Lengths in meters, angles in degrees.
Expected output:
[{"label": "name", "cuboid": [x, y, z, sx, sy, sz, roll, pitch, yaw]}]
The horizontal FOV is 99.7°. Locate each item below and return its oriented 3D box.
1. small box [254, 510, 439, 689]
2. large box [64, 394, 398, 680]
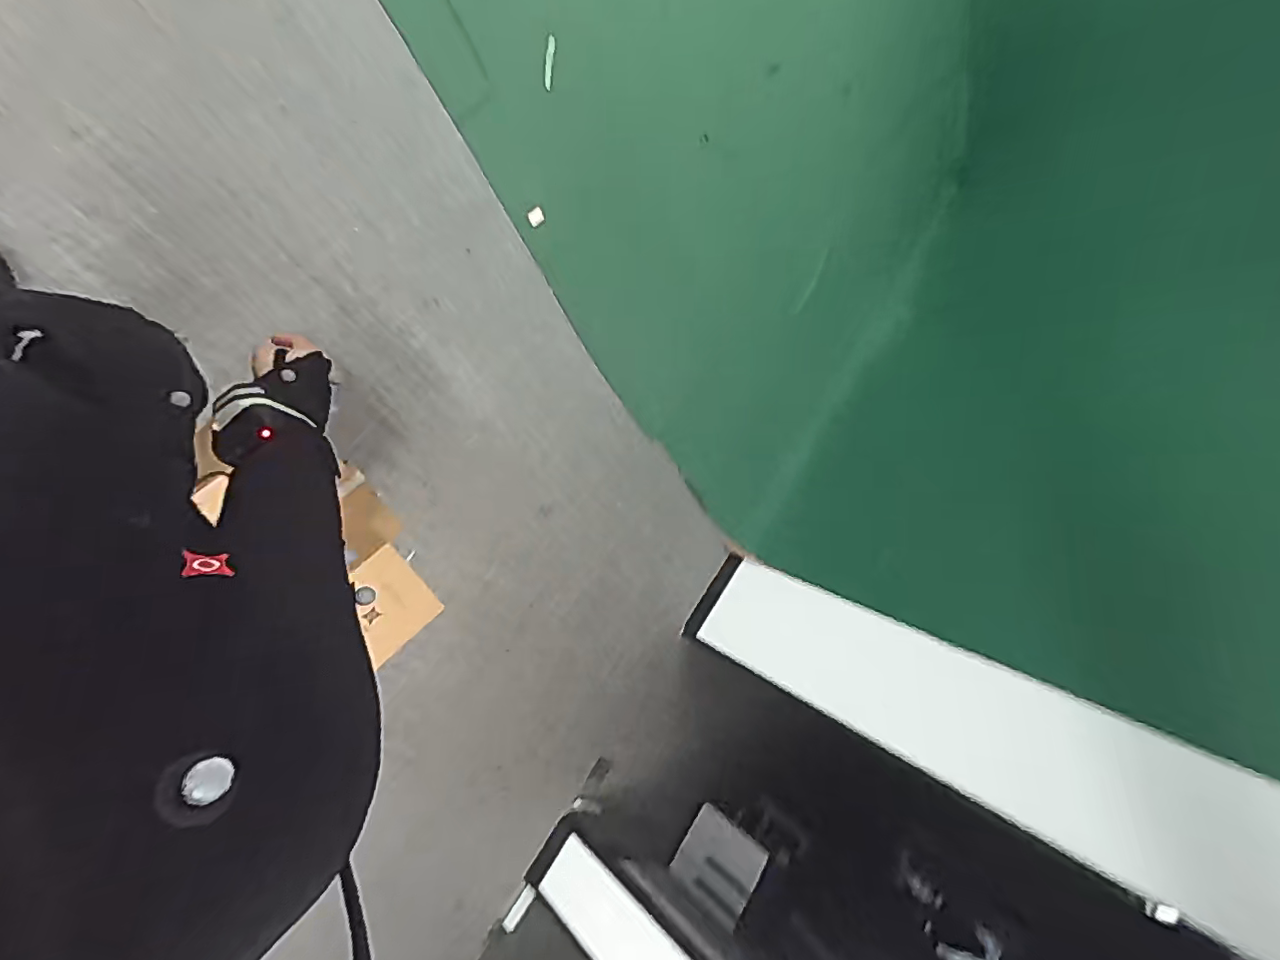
[{"label": "small box", "cuboid": [-0.457, 0.176, 0.837, 0.179, 0.176, 0.168, -44, 135, -27]}, {"label": "large box", "cuboid": [-0.785, 0.091, 1.069, 0.408, 0.320, 0.320, -47, 134, -23]}]
